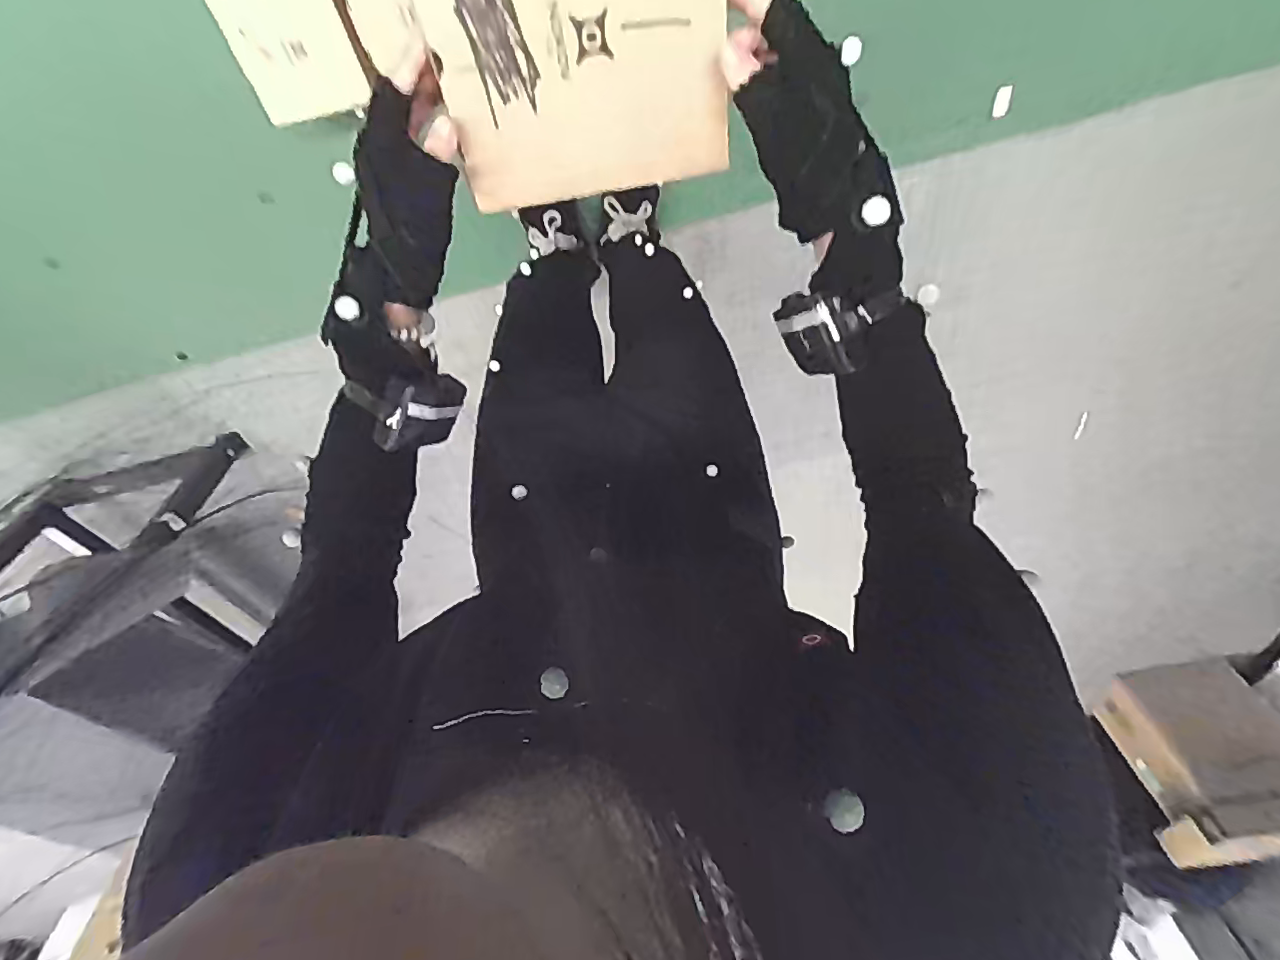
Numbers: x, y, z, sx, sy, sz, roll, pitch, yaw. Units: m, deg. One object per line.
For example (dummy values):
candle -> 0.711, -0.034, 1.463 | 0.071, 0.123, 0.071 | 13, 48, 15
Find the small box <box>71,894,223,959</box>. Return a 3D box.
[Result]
small box -> -1.027, 0.976, 1.113 | 0.168, 0.176, 0.179 | -14, 131, 7

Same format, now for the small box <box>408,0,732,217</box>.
small box -> -0.040, -0.301, 0.366 | 0.179, 0.176, 0.168 | -9, 134, 2
